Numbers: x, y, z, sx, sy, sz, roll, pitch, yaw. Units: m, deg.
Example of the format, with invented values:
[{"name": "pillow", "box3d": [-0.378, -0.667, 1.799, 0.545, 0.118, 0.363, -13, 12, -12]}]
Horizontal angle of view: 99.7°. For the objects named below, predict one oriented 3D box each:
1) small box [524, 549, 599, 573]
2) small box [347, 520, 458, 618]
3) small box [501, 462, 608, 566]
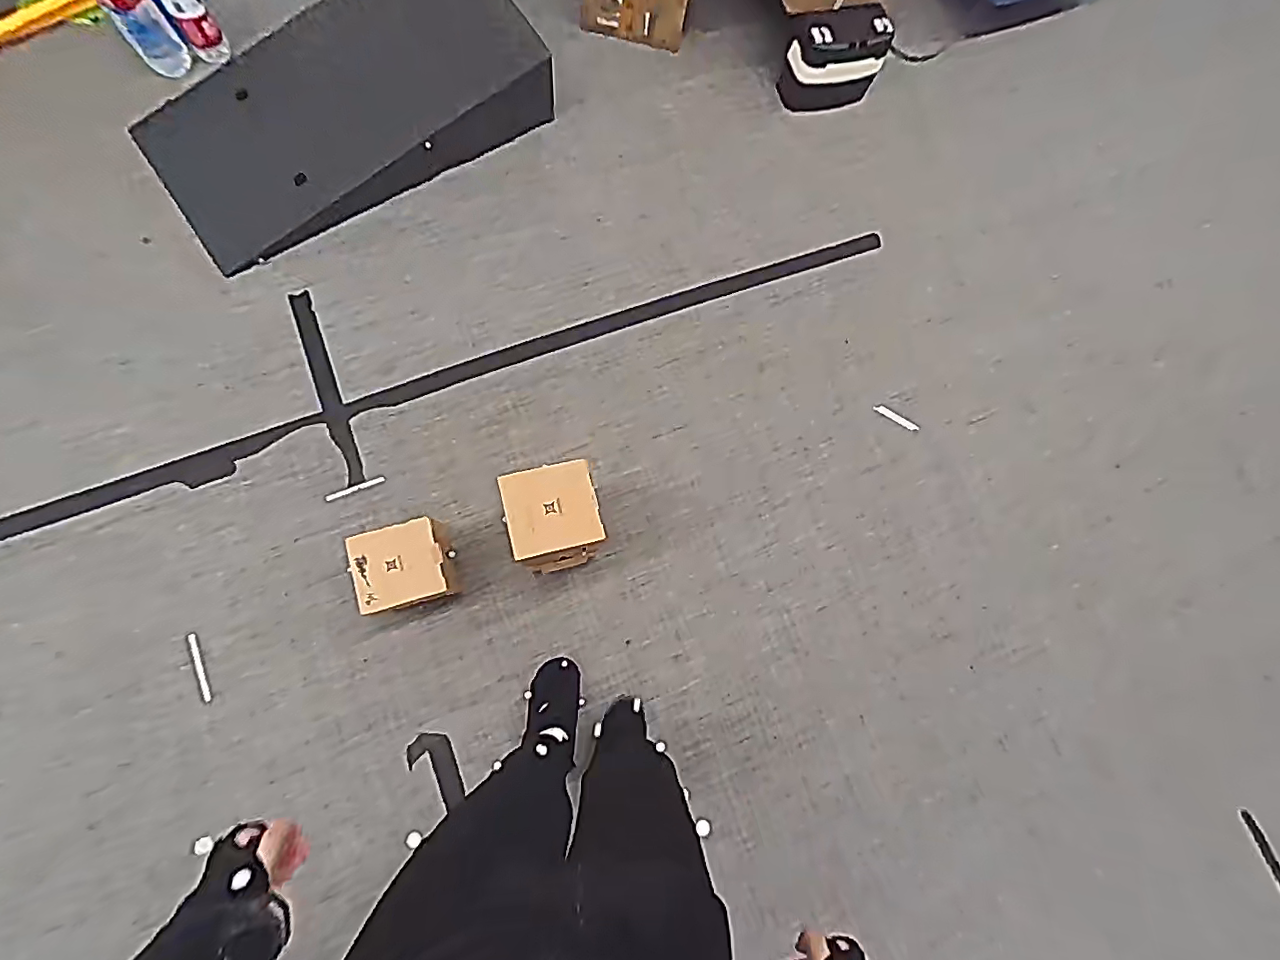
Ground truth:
[{"name": "small box", "box3d": [-0.195, 0.111, 1.249, 0.168, 0.176, 0.179, -14, 80, -10]}, {"name": "small box", "box3d": [-0.510, 0.195, 1.189, 0.179, 0.176, 0.168, -14, 81, -11]}, {"name": "small box", "box3d": [-0.173, 0.074, 1.092, 0.179, 0.176, 0.168, -12, 79, -10]}]
